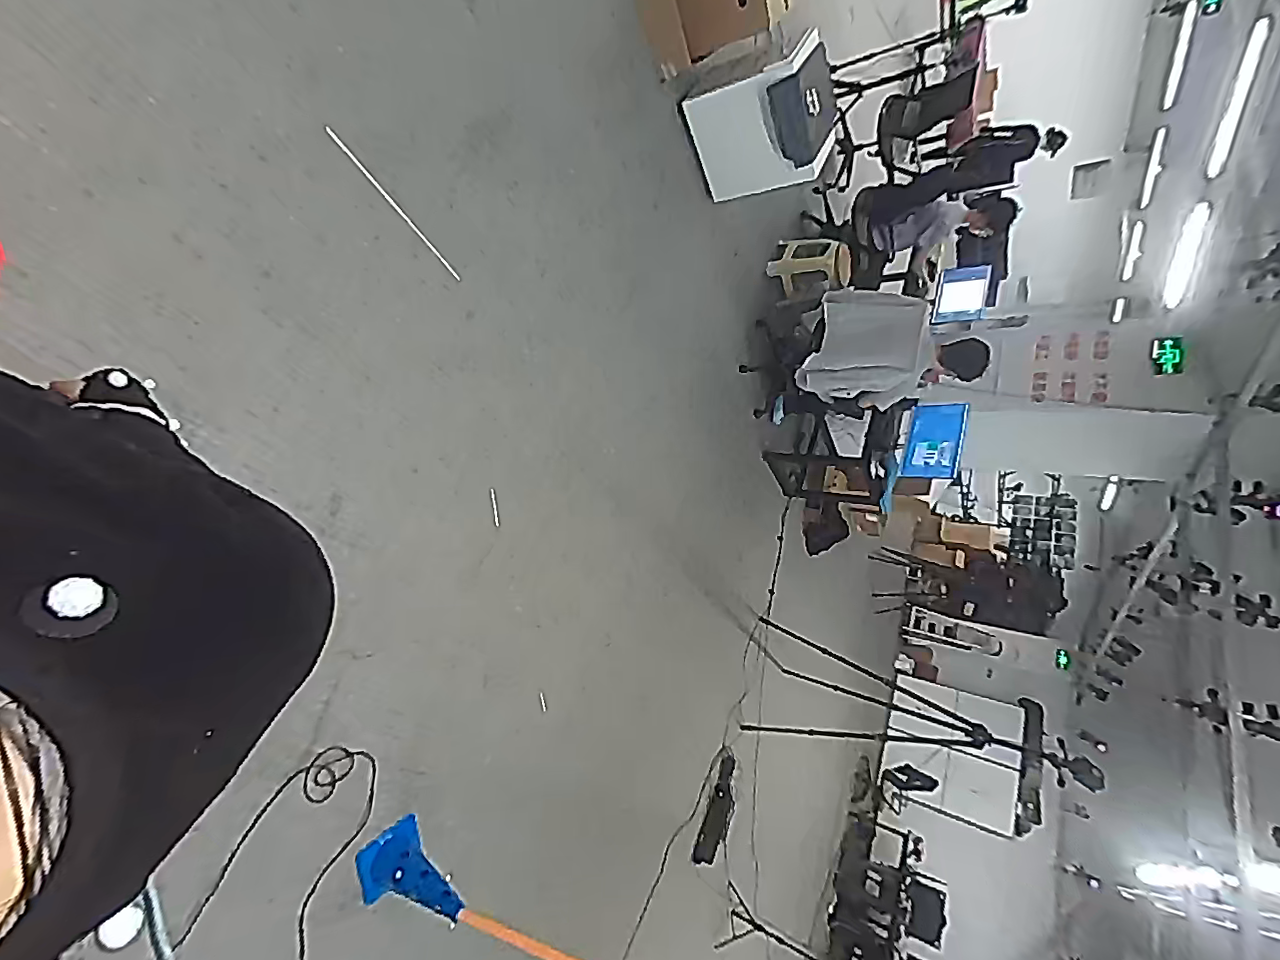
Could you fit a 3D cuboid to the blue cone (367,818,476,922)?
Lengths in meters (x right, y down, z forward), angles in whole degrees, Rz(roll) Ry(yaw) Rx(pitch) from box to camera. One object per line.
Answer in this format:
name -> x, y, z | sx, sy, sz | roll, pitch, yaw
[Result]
blue cone -> -0.635, 1.216, 1.634 | 0.193, 0.380, 0.192 | -24, 113, -53
